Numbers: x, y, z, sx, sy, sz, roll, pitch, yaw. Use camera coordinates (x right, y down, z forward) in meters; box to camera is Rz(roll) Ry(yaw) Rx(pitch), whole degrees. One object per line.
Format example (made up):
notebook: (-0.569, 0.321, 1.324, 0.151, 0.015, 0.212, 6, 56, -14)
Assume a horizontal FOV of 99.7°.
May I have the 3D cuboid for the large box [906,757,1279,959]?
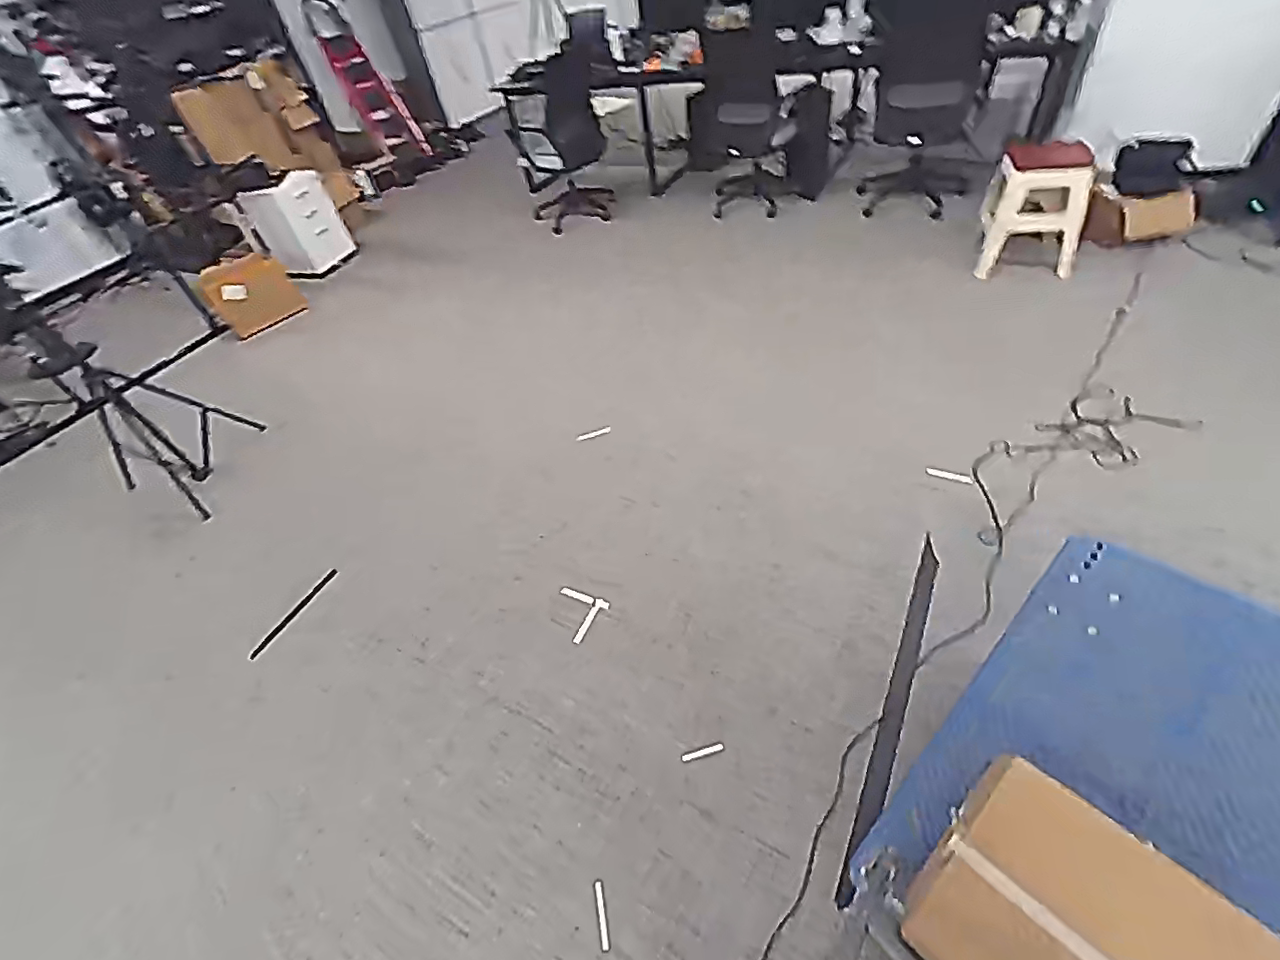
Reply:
large box: (0.671, 0.684, 0.809, 0.408, 0.320, 0.320, 34, 85, 36)
